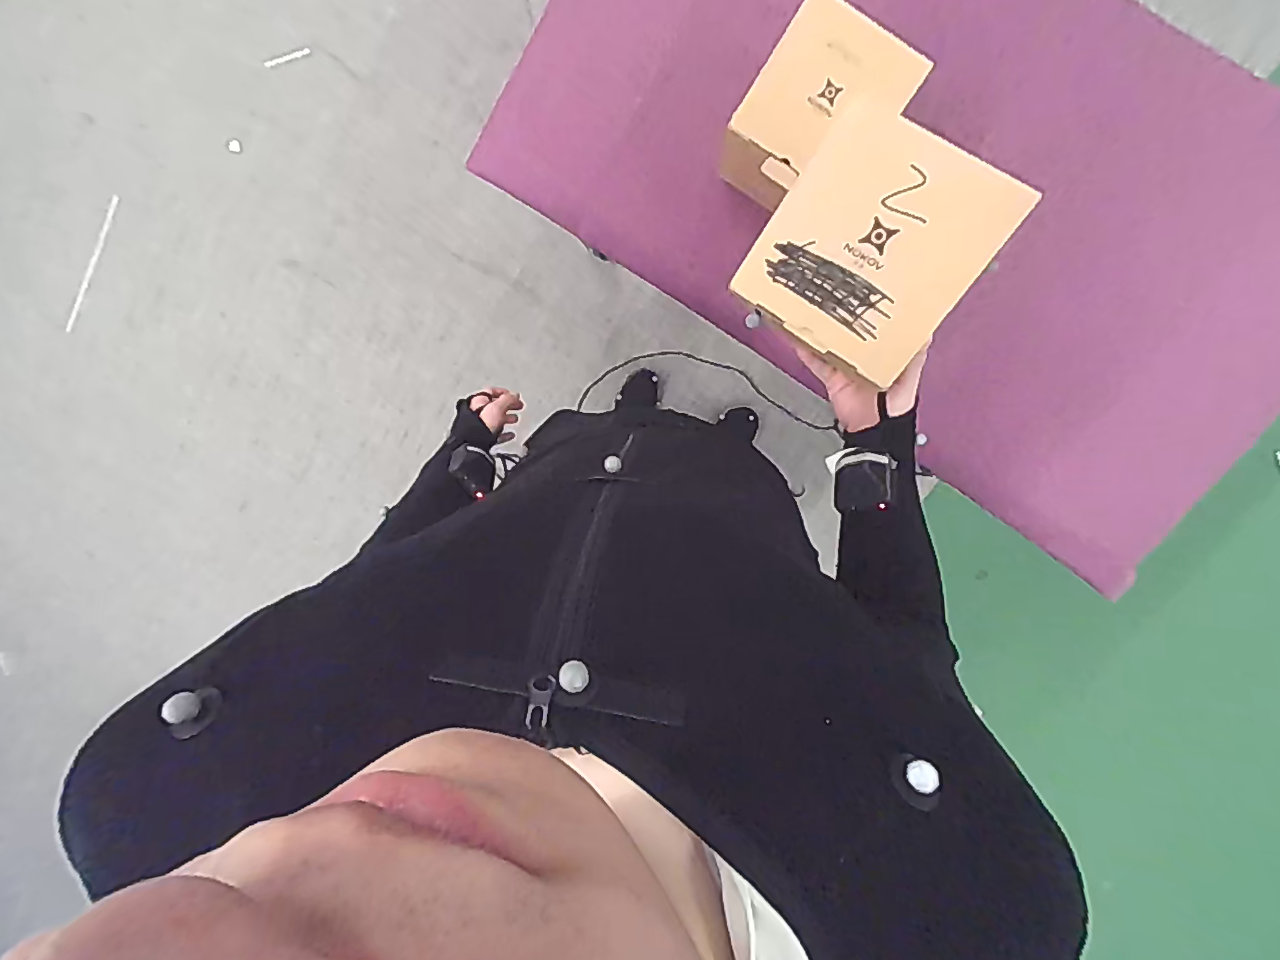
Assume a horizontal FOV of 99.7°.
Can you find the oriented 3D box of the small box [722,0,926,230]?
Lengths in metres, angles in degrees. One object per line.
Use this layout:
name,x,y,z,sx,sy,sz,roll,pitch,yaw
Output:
small box,0.222,-0.462,0.706,0.168,0.176,0.179,34,101,-2
